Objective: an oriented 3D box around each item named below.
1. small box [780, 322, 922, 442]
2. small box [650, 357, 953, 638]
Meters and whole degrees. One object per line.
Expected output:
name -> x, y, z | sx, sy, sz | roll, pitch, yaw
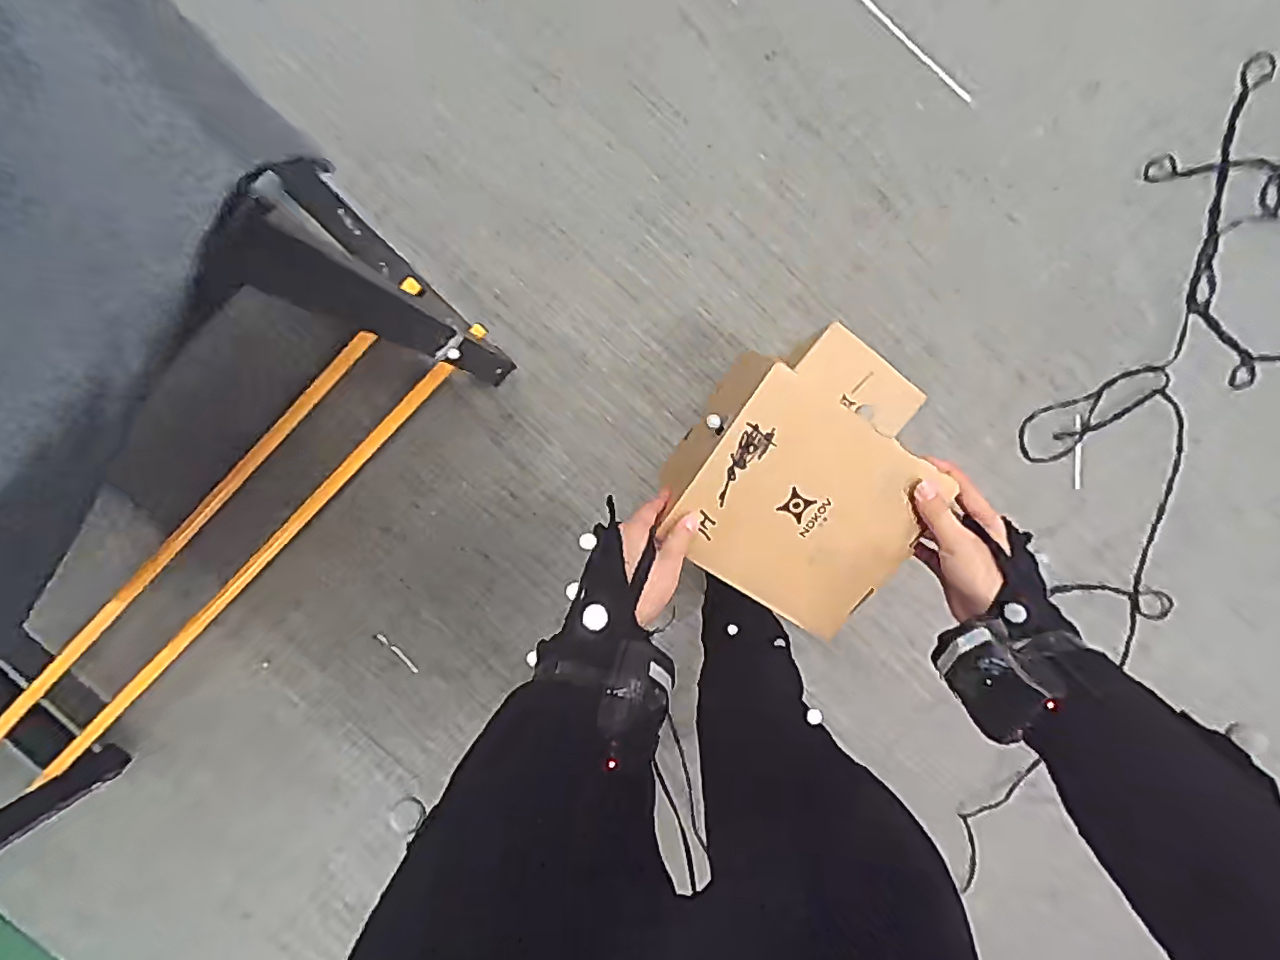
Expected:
small box -> 0.268, -0.100, 0.811 | 0.168, 0.176, 0.179 | 39, 92, -2
small box -> 0.126, 0.001, 0.494 | 0.179, 0.176, 0.168 | 32, 106, -7
